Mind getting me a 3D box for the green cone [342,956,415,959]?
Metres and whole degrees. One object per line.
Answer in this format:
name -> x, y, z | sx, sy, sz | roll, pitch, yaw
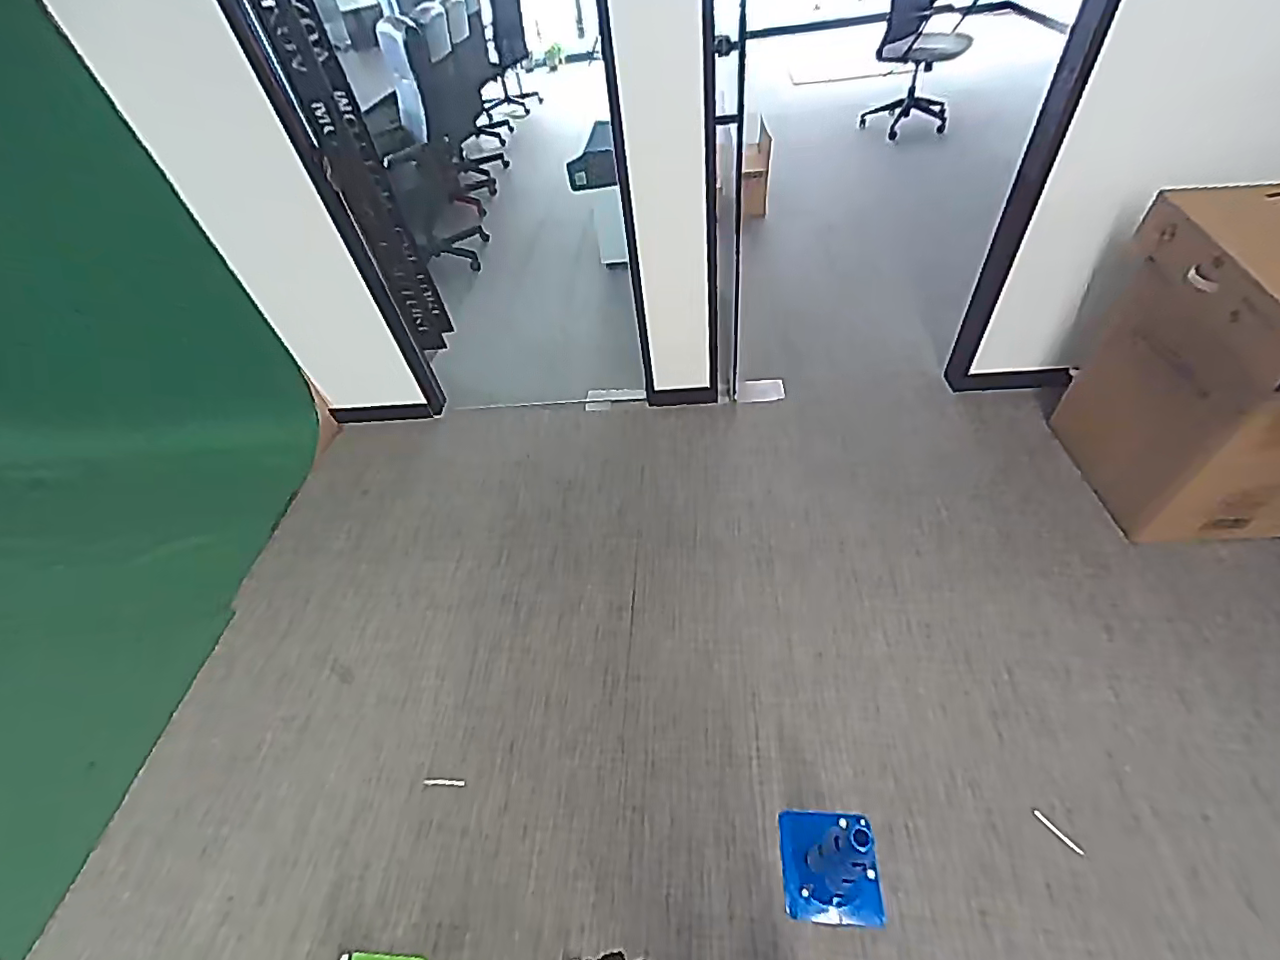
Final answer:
green cone -> -0.568, 0.968, 0.948 | 0.202, 0.368, 0.200 | -2, 48, 6
